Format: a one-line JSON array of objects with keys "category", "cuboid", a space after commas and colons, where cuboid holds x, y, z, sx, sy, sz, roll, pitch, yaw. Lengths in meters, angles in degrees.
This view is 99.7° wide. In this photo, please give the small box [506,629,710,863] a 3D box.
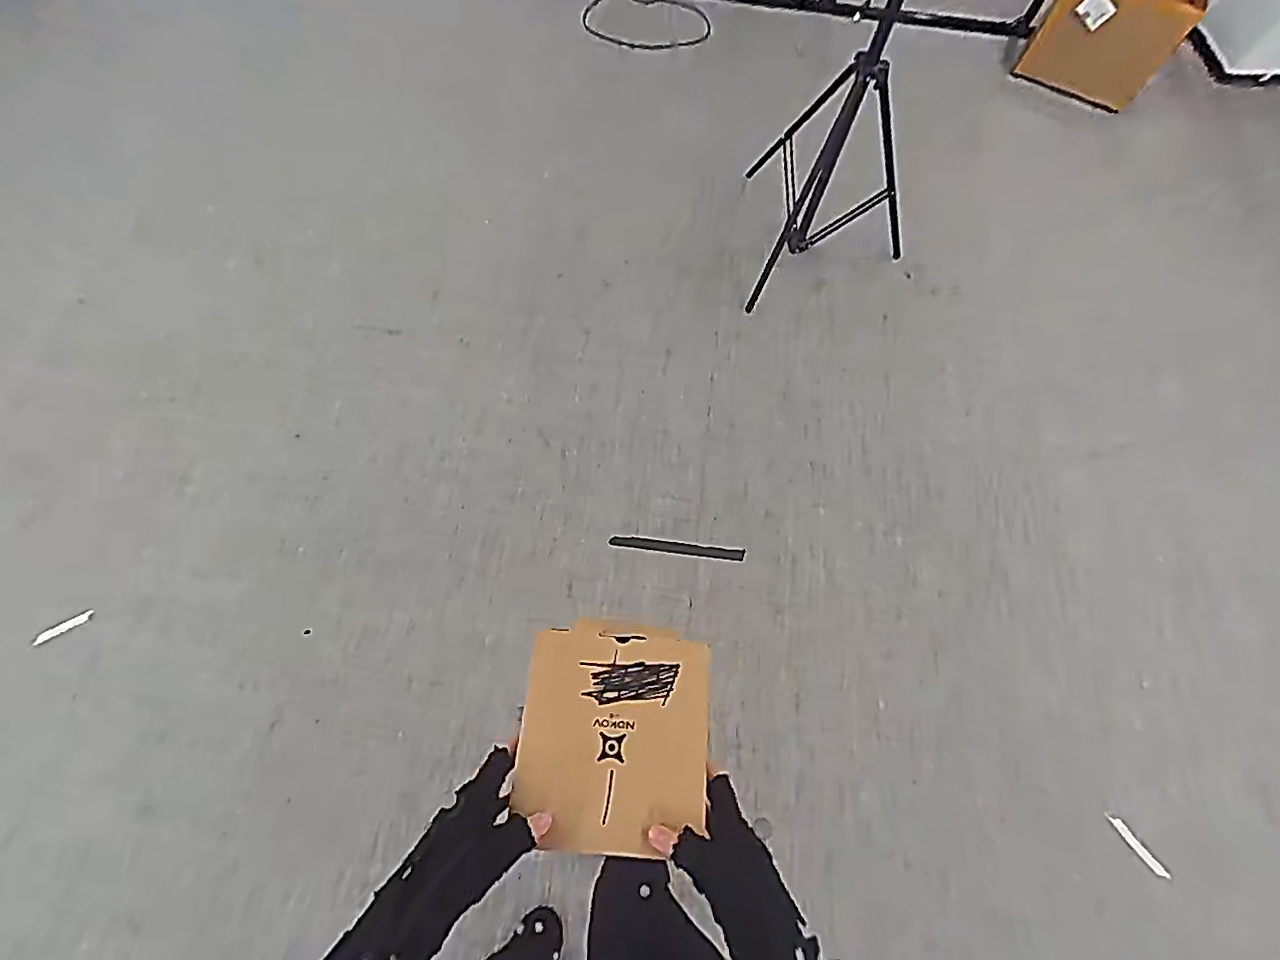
[{"category": "small box", "cuboid": [-0.028, 0.260, 0.549, 0.168, 0.176, 0.179, 6, 66, -1]}]
